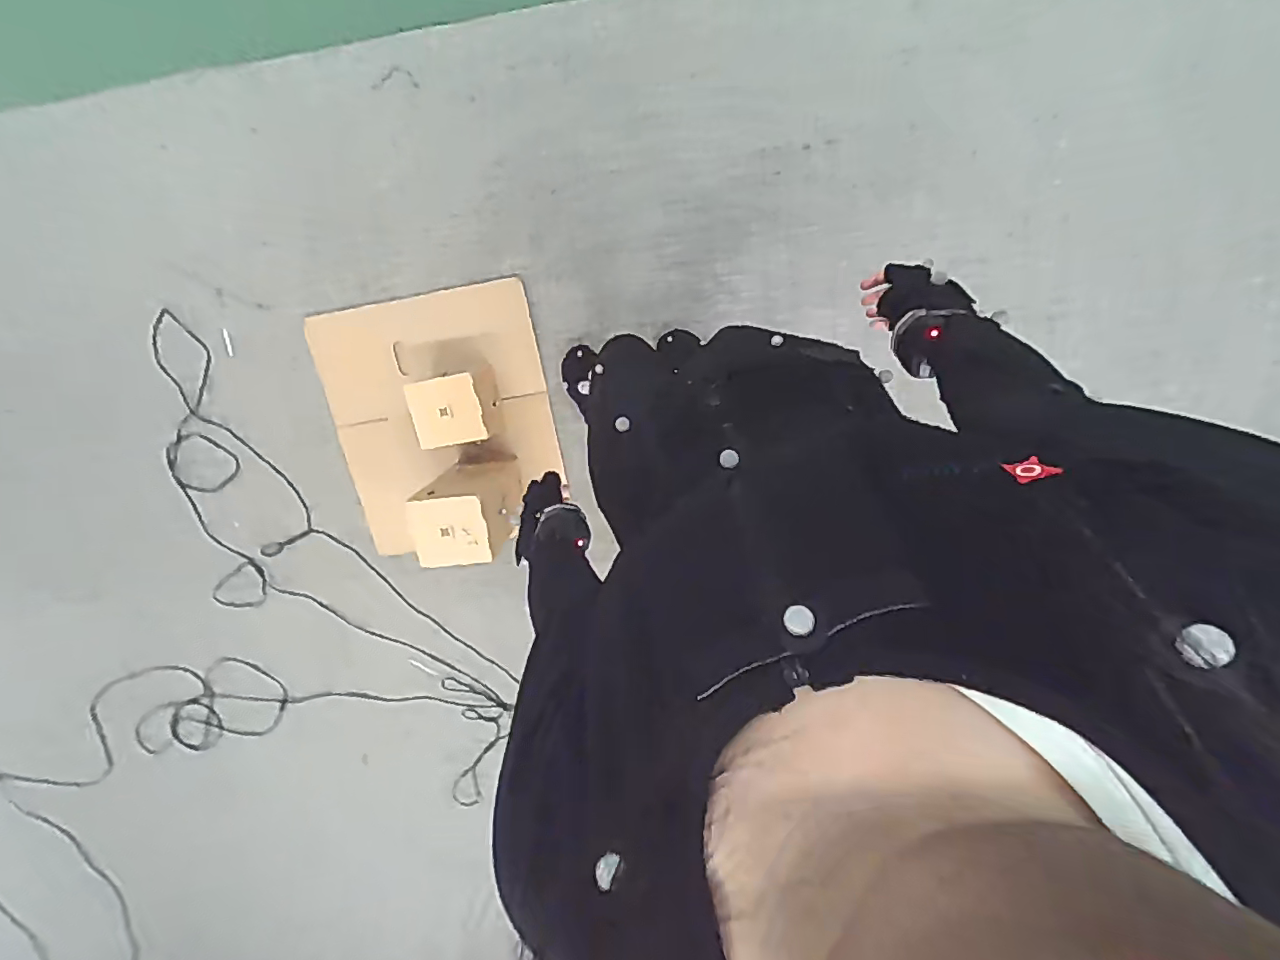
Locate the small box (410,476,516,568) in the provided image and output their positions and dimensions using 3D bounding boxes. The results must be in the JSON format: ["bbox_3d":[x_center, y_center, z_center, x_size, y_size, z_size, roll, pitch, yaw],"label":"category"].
[{"bbox_3d":[-0.416,0.096,1.296,0.179,0.176,0.168,-6,108,5],"label":"small box"}]

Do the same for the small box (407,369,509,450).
[{"bbox_3d":[-0.458,-0.184,1.388,0.179,0.176,0.168,-11,105,6],"label":"small box"}]
